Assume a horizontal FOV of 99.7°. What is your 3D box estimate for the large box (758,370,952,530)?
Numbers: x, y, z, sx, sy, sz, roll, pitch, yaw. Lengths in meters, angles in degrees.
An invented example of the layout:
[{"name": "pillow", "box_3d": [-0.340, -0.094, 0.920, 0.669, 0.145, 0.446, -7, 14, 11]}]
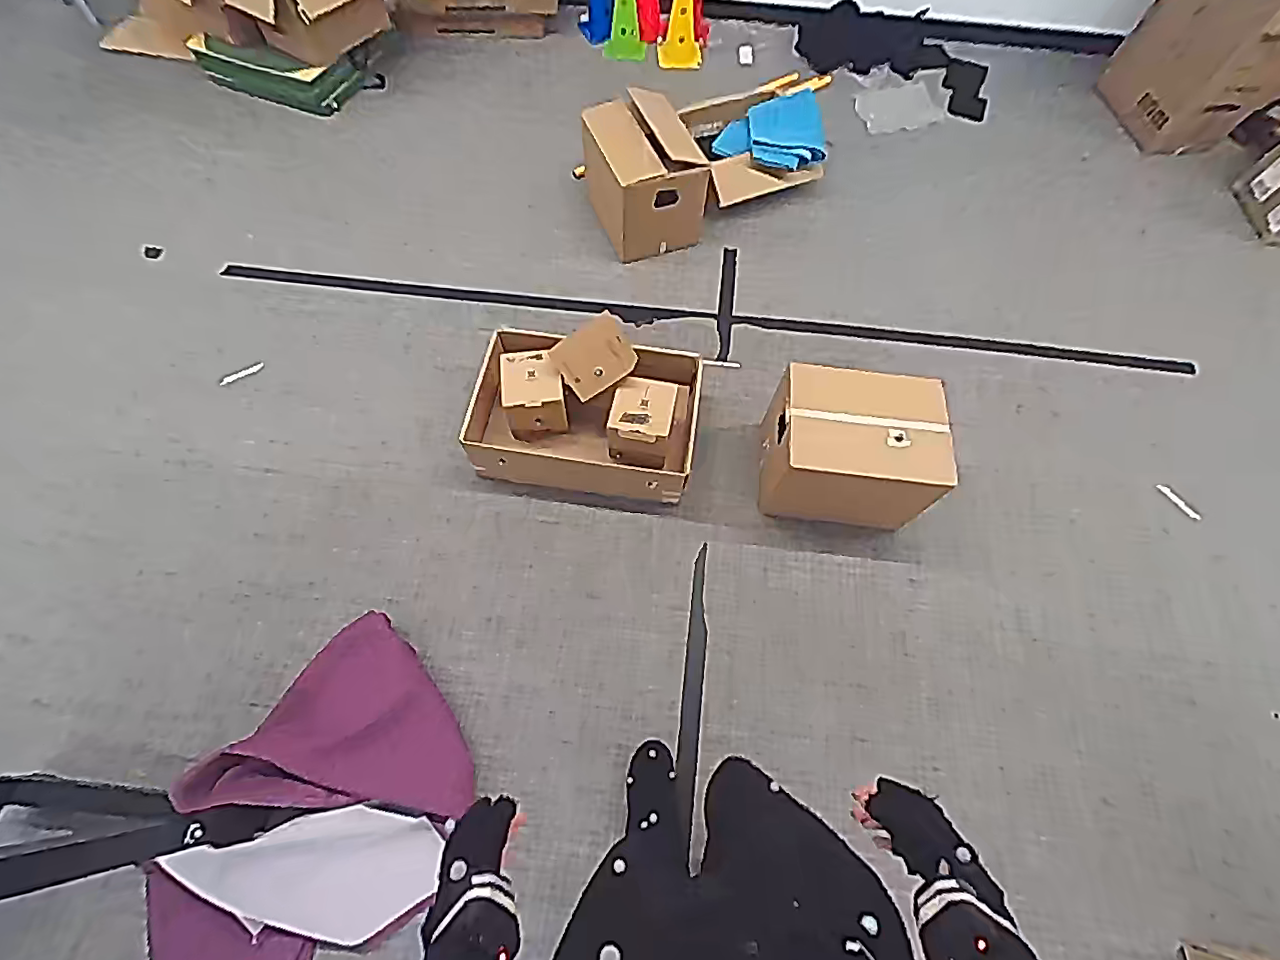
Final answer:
[{"name": "large box", "box_3d": [0.558, -0.071, 1.492, 0.408, 0.320, 0.320, 7, 65, 0]}]
